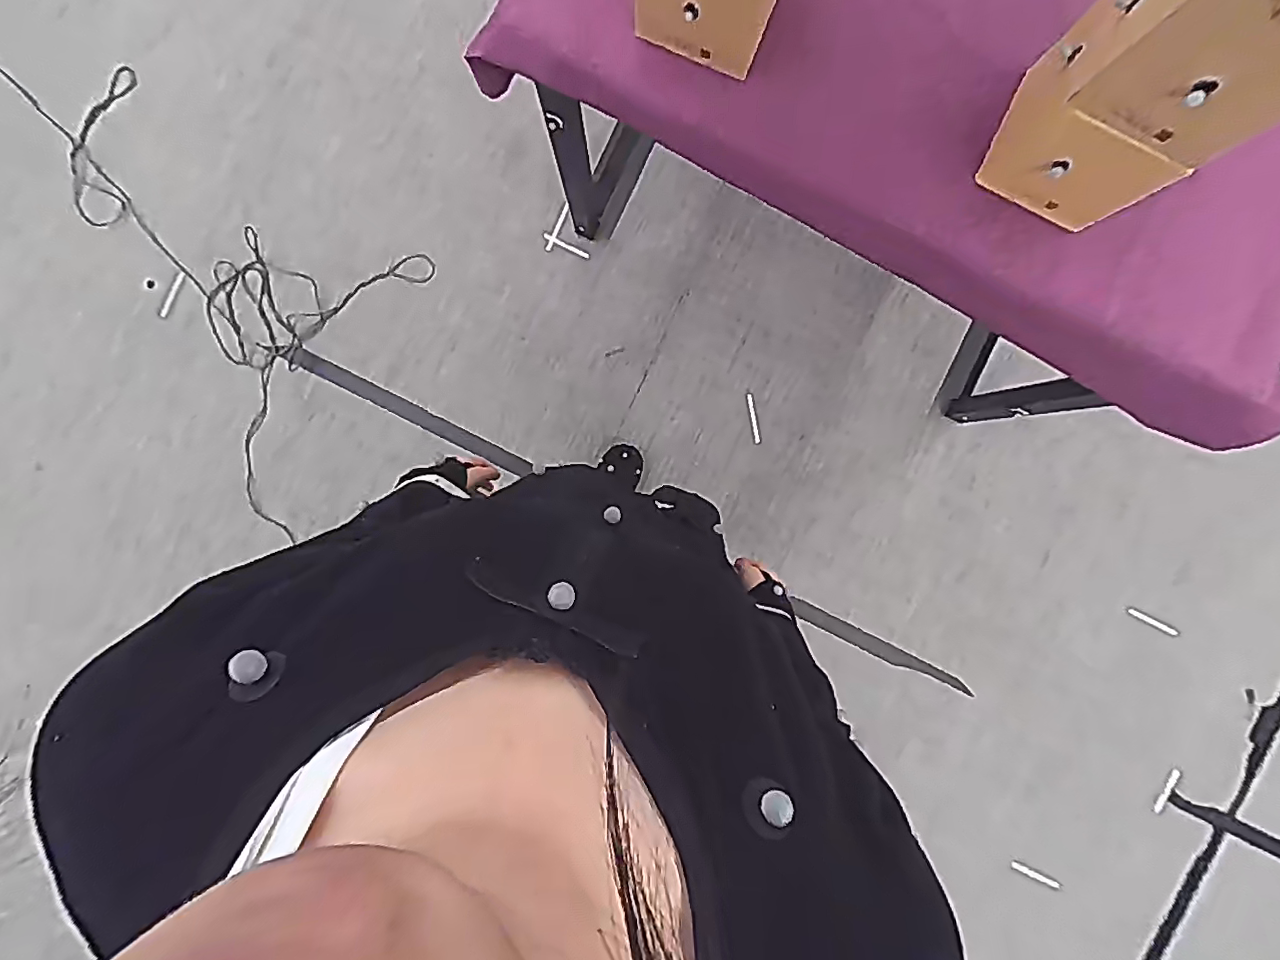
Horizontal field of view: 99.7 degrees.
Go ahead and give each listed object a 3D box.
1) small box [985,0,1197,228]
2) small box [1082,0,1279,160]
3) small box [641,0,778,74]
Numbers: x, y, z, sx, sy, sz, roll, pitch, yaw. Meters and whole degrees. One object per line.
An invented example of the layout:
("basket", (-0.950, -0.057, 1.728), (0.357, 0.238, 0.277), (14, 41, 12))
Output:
("small box", (0.582, -0.457, 0.683), (0.168, 0.176, 0.179), (26, 91, -1))
("small box", (0.586, -0.456, 0.519), (0.168, 0.176, 0.179), (27, 92, -1))
("small box", (0.104, -0.661, 0.667), (0.168, 0.176, 0.179), (22, 91, -2))
